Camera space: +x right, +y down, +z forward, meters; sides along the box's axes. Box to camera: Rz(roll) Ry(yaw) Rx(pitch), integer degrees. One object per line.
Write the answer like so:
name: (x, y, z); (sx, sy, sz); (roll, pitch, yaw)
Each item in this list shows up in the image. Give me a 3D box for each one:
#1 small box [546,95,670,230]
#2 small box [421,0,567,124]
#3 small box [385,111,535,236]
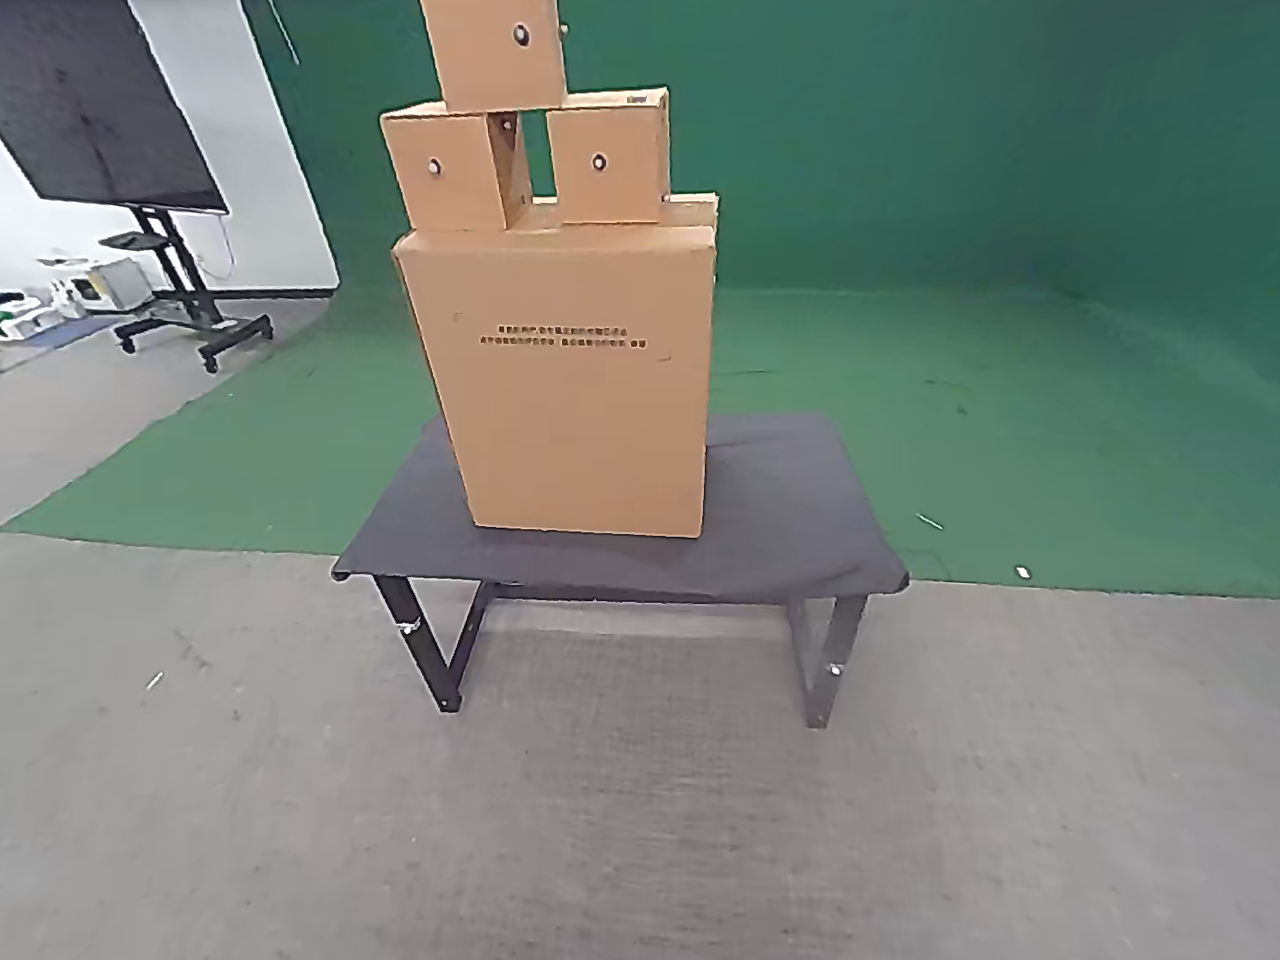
small box: (-0.043, -0.543, 0.929); (0.179, 0.176, 0.168); (2, 42, 9)
small box: (-0.210, -0.660, 0.831); (0.179, 0.176, 0.168); (-5, 40, 0)
small box: (-0.301, -0.536, 0.945); (0.179, 0.176, 0.168); (3, 42, 8)
